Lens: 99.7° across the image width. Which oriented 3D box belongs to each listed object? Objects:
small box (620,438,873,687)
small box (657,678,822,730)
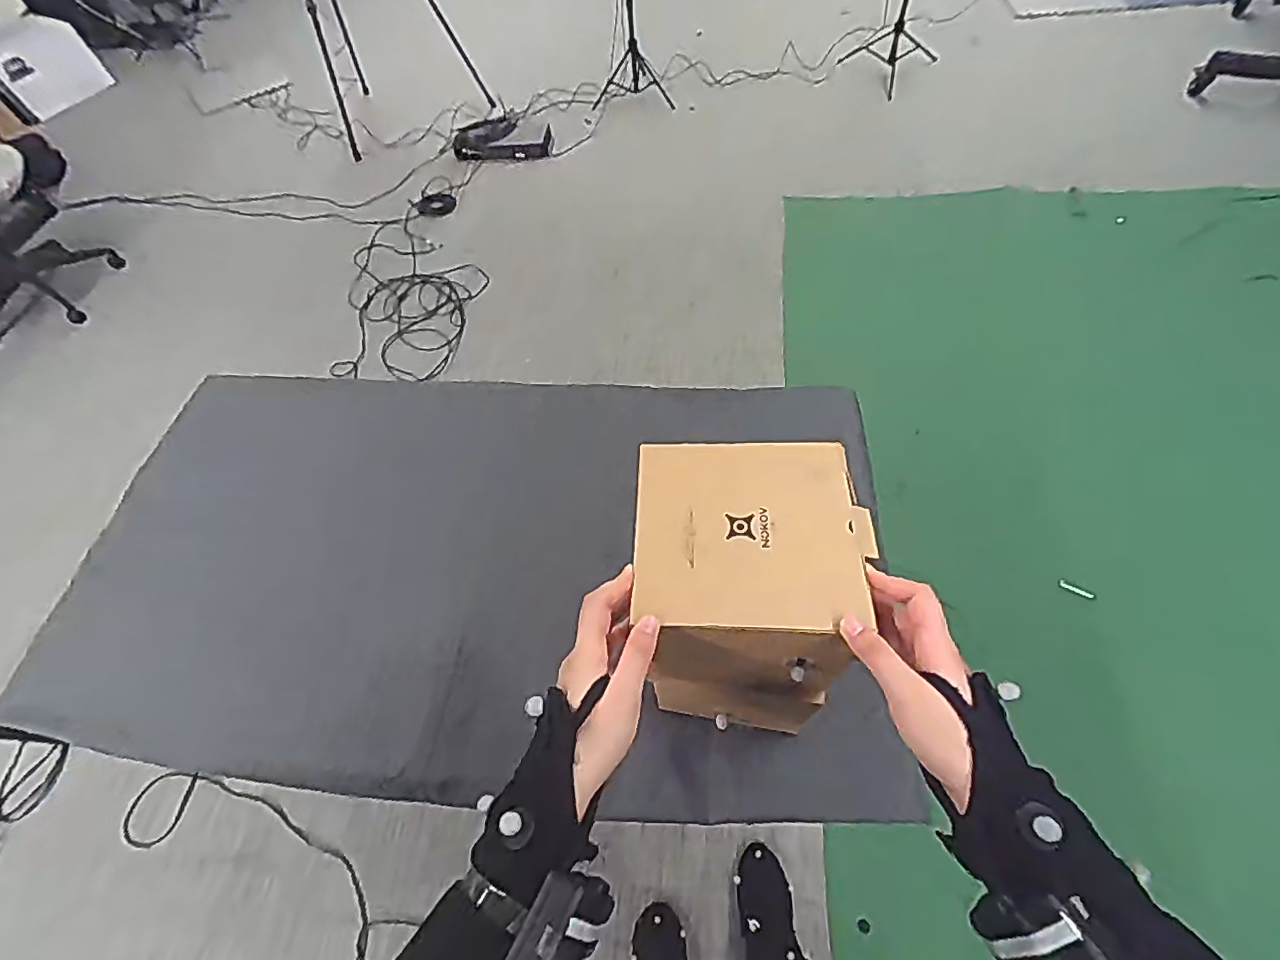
[{"bbox_3d":[0.084,0.079,0.482,0.179,0.176,0.168,-1,55,7],"label":"small box"},{"bbox_3d":[0.109,0.167,0.616,0.168,0.176,0.179,6,58,11],"label":"small box"}]
